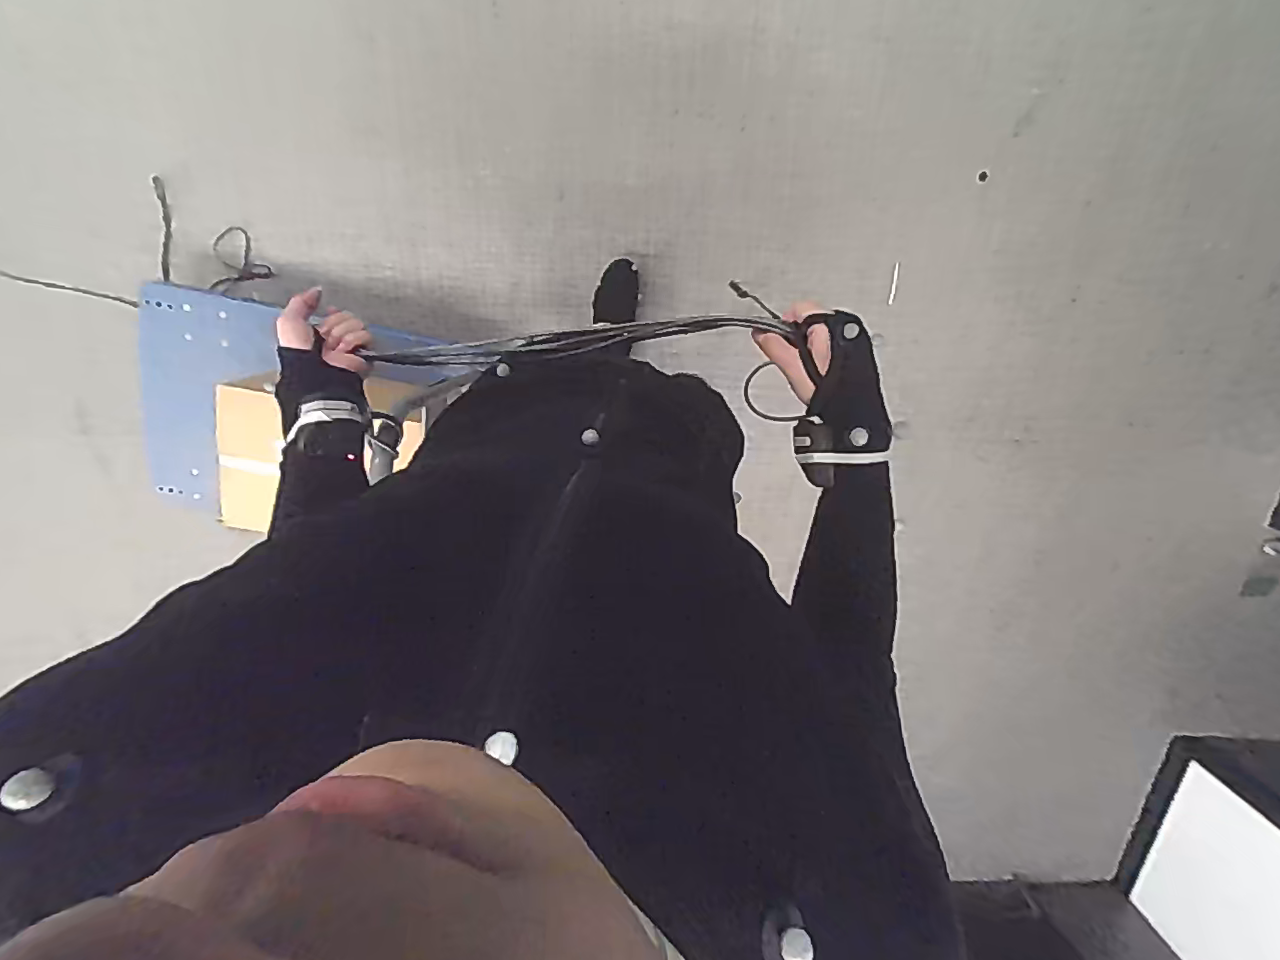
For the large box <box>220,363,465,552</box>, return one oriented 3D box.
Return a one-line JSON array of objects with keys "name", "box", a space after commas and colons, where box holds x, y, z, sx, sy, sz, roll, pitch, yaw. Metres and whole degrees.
[{"name": "large box", "box": [-0.655, -0.065, 1.258, 0.408, 0.320, 0.320, 11, 108, -5]}]
